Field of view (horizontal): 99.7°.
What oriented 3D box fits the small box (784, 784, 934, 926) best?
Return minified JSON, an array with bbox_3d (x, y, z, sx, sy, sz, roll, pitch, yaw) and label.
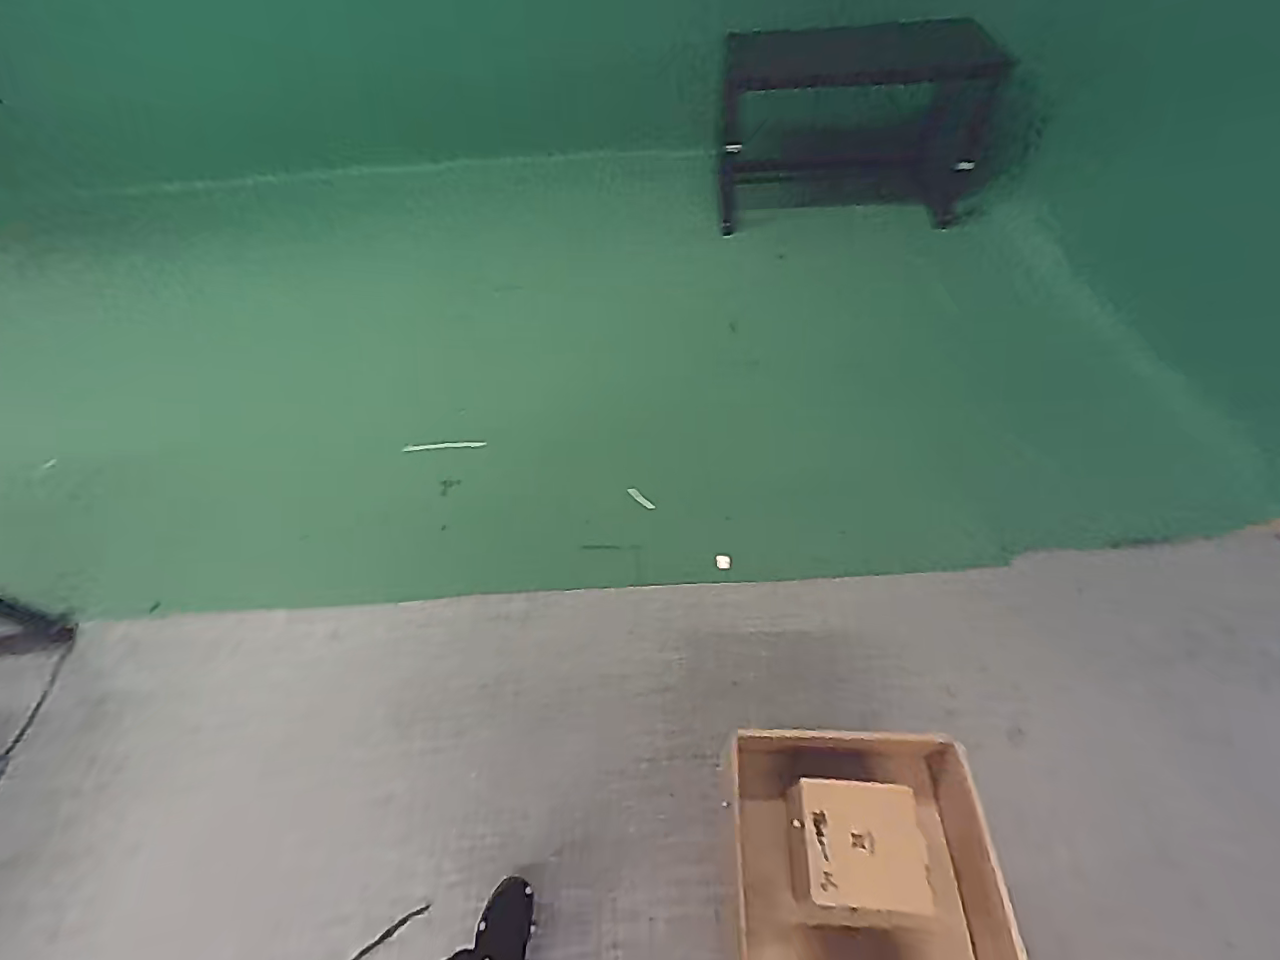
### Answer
[{"bbox_3d":[0.342,0.610,0.884,0.179,0.176,0.168,3,52,5],"label":"small box"}]
